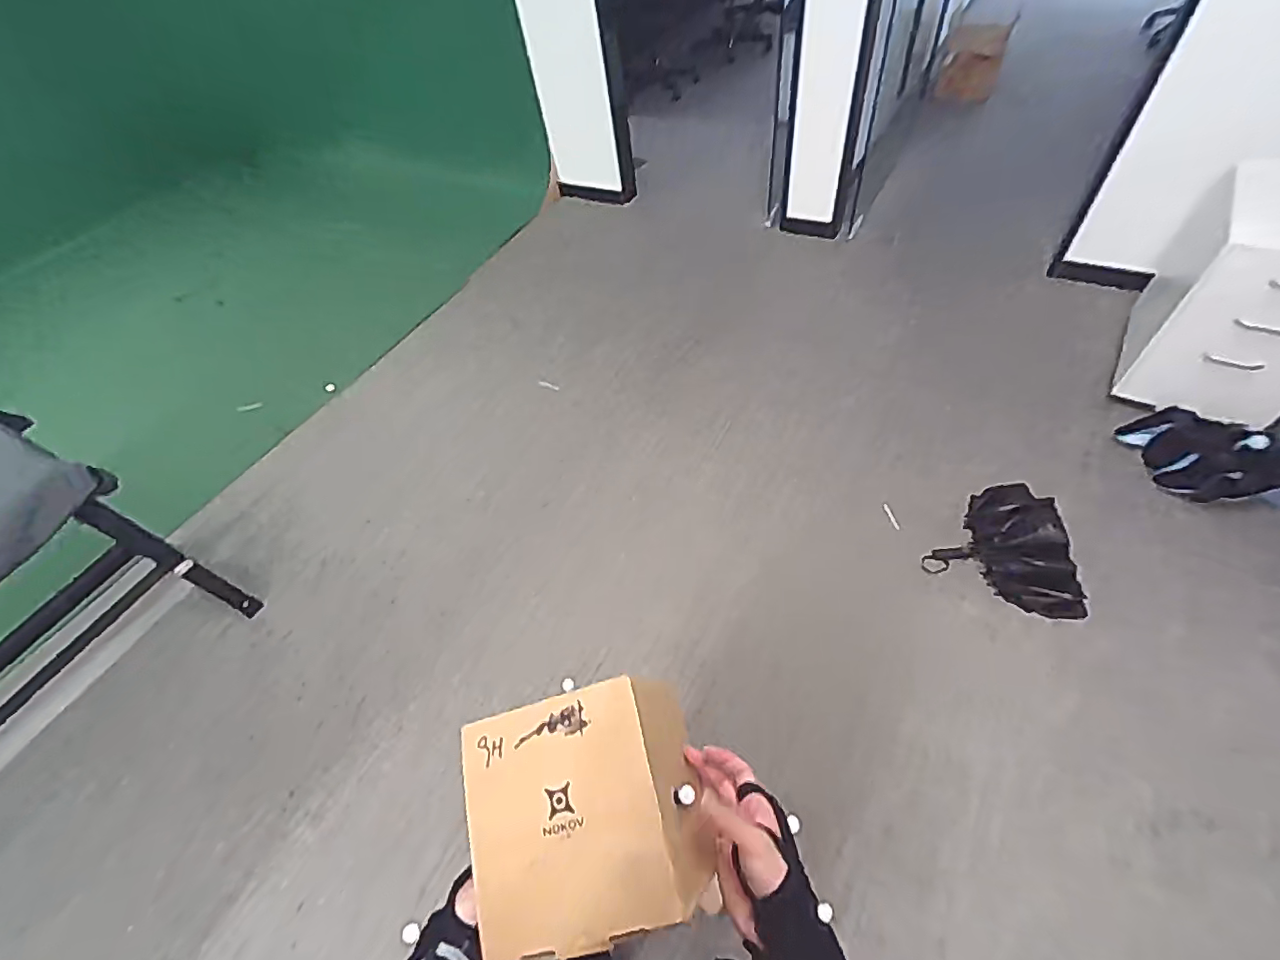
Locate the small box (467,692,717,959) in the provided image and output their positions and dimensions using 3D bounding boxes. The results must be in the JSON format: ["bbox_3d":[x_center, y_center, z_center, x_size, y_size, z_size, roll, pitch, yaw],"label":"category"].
[{"bbox_3d":[-0.036,0.309,0.508,0.168,0.176,0.179,-21,64,8],"label":"small box"}]

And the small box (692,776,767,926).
[{"bbox_3d":[0.131,0.735,1.077,0.168,0.176,0.179,33,63,30],"label":"small box"}]
